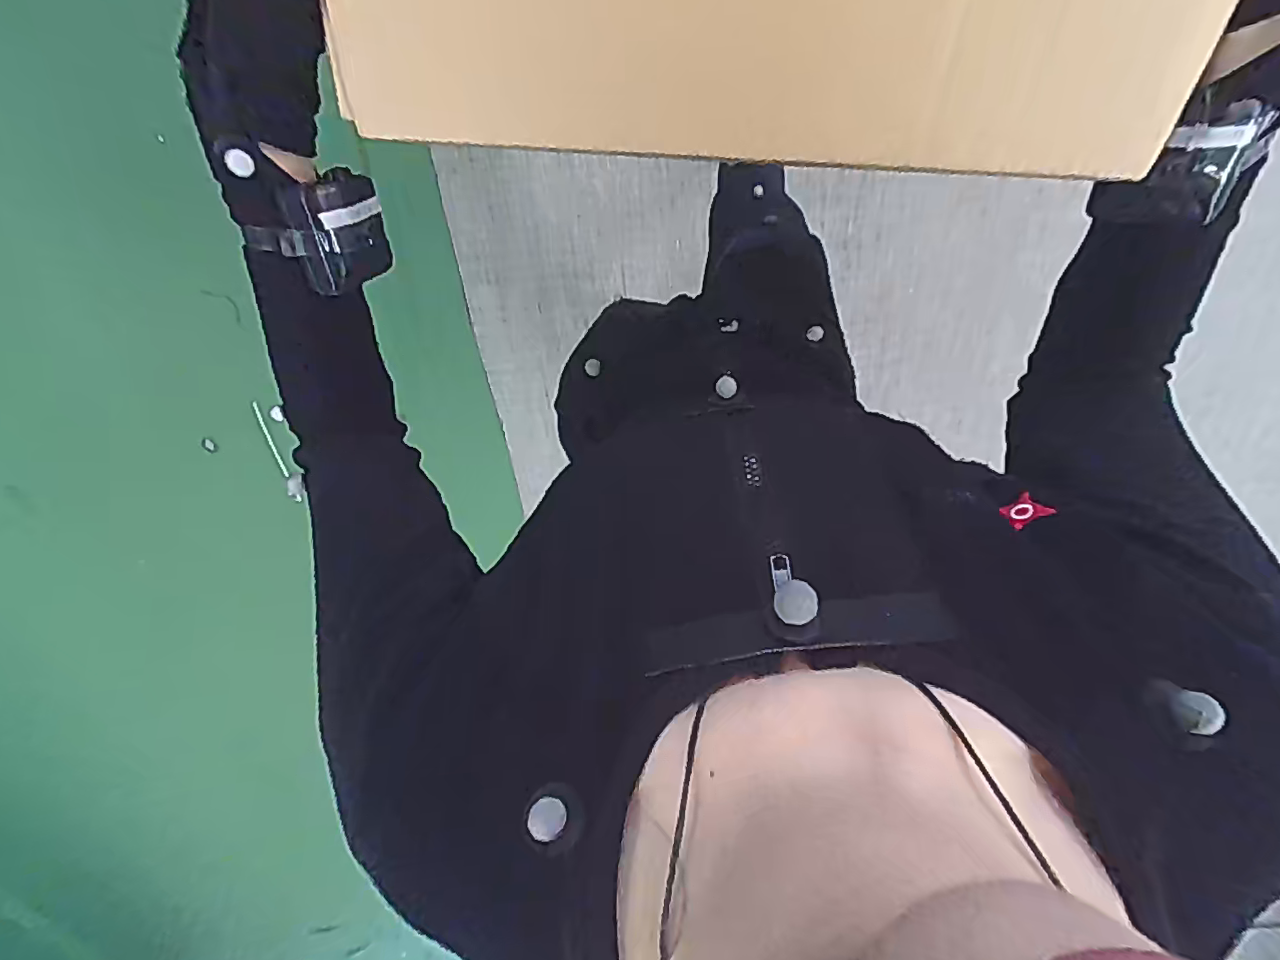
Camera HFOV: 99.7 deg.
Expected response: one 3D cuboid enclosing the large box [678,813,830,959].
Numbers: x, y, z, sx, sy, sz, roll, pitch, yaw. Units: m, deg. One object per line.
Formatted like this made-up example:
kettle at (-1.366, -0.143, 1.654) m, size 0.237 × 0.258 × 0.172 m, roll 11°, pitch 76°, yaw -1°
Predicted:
large box at (0.263, 1.118, 1.379) m, size 0.320 × 0.320 × 0.408 m, roll -2°, pitch 120°, yaw 2°
